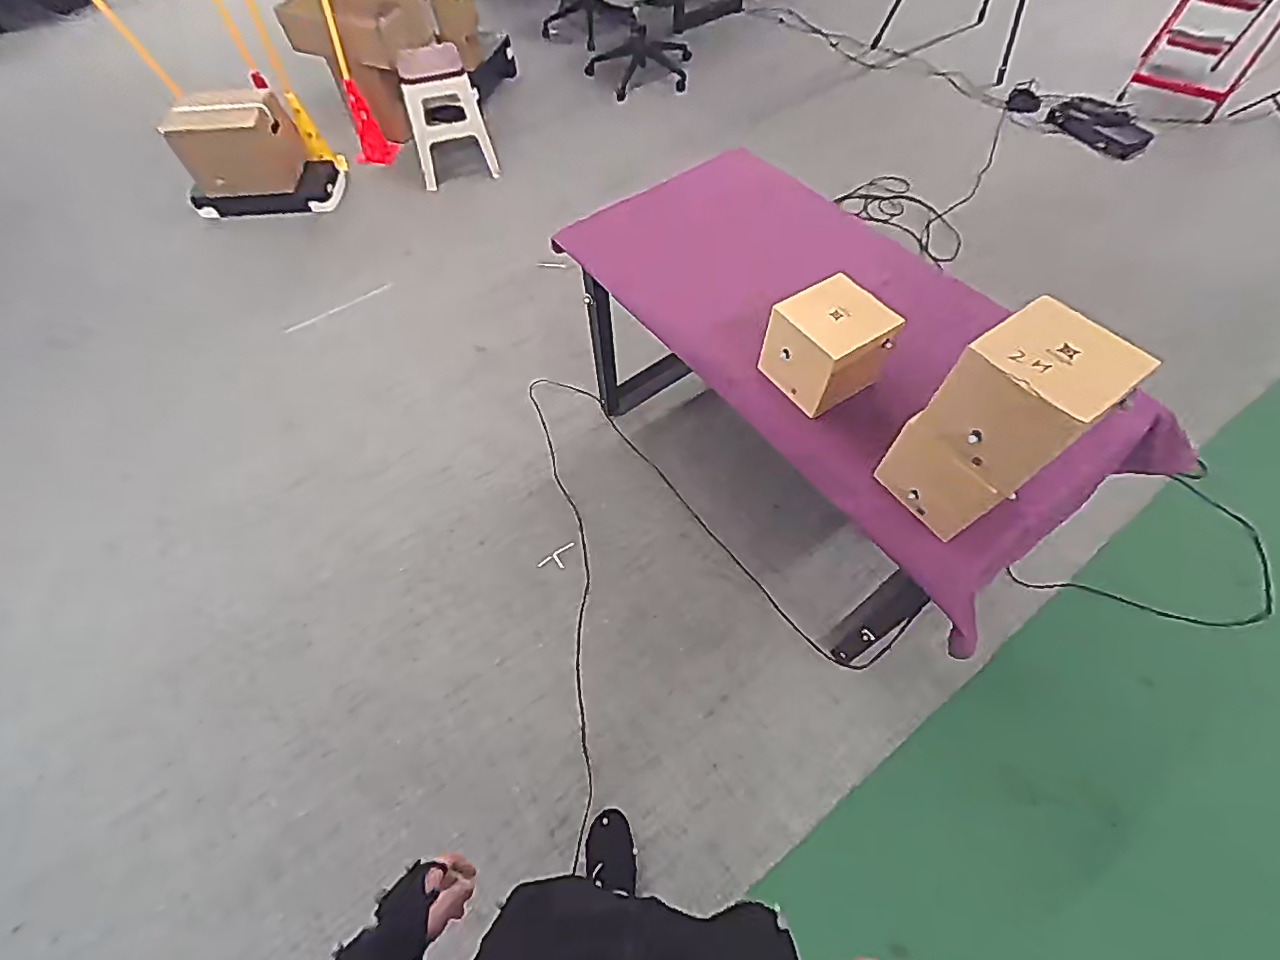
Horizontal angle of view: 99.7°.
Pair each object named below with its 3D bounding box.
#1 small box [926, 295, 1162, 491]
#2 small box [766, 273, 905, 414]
[{"bbox_3d":[0.546,-0.118,0.759,0.179,0.176,0.168,-31,62,-16],"label":"small box"},{"bbox_3d":[0.362,-0.258,1.044,0.179,0.176,0.168,-29,62,-17],"label":"small box"}]
